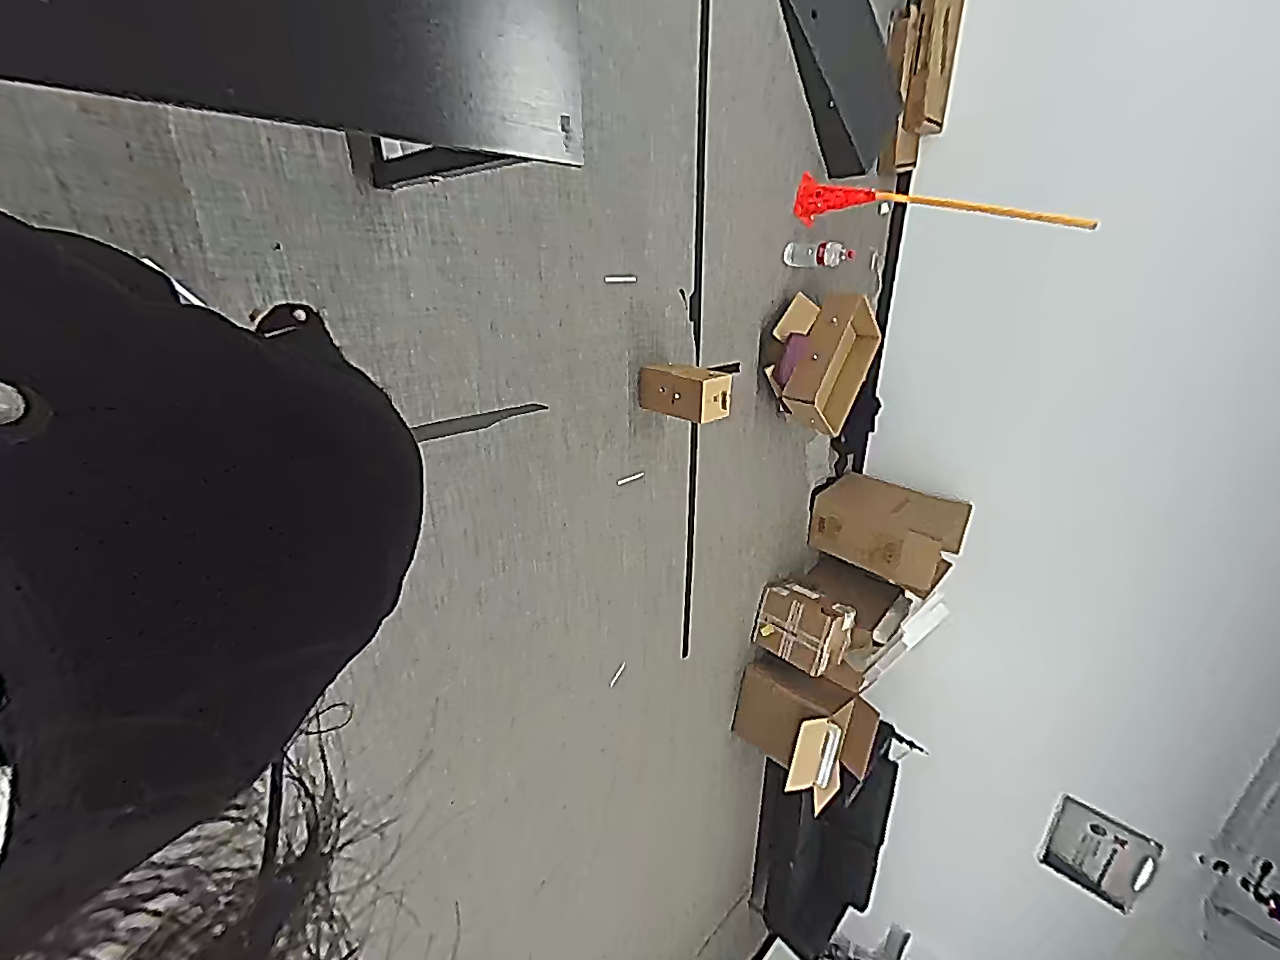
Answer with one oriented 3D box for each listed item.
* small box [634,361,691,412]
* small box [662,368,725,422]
[{"bbox_3d":[0.090,-0.382,2.193,0.168,0.176,0.179,-21,121,-41],"label":"small box"},{"bbox_3d":[0.204,-0.334,2.084,0.179,0.176,0.168,-21,120,-41],"label":"small box"}]
